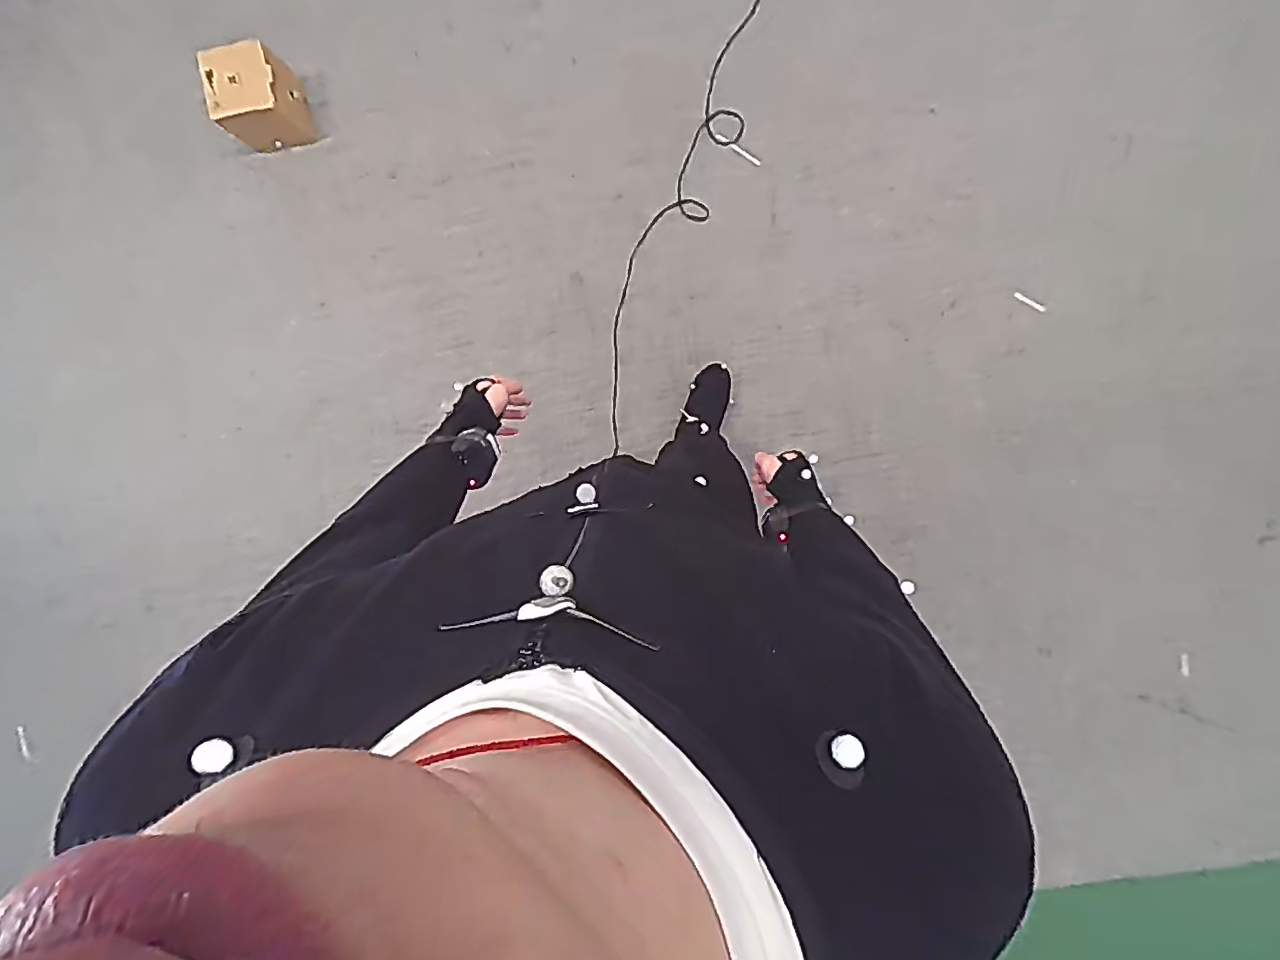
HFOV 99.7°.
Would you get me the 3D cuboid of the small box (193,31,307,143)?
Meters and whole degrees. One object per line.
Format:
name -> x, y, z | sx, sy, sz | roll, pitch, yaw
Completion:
small box -> -1.009, -1.023, 1.421 | 0.179, 0.176, 0.168 | -8, 94, 3
